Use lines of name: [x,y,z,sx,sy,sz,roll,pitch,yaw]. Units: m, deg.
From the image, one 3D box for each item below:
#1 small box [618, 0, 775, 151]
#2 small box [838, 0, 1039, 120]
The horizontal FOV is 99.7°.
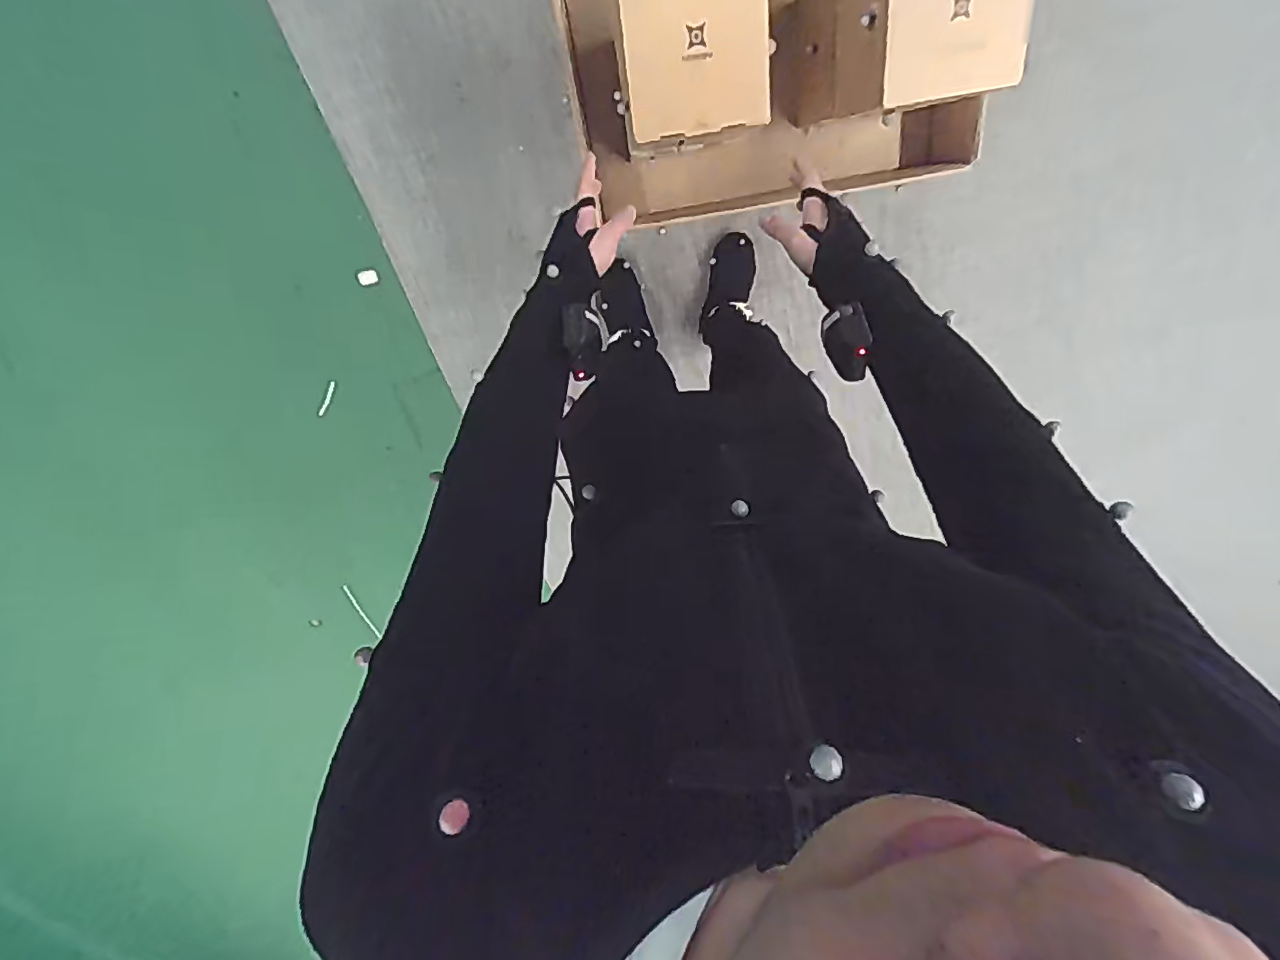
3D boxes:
small box: [0.065,-0.528,0.675,0.168,0.176,0.179,-8,118,1]
small box: [0.356,-0.567,0.668,0.168,0.176,0.179,-8,119,2]
